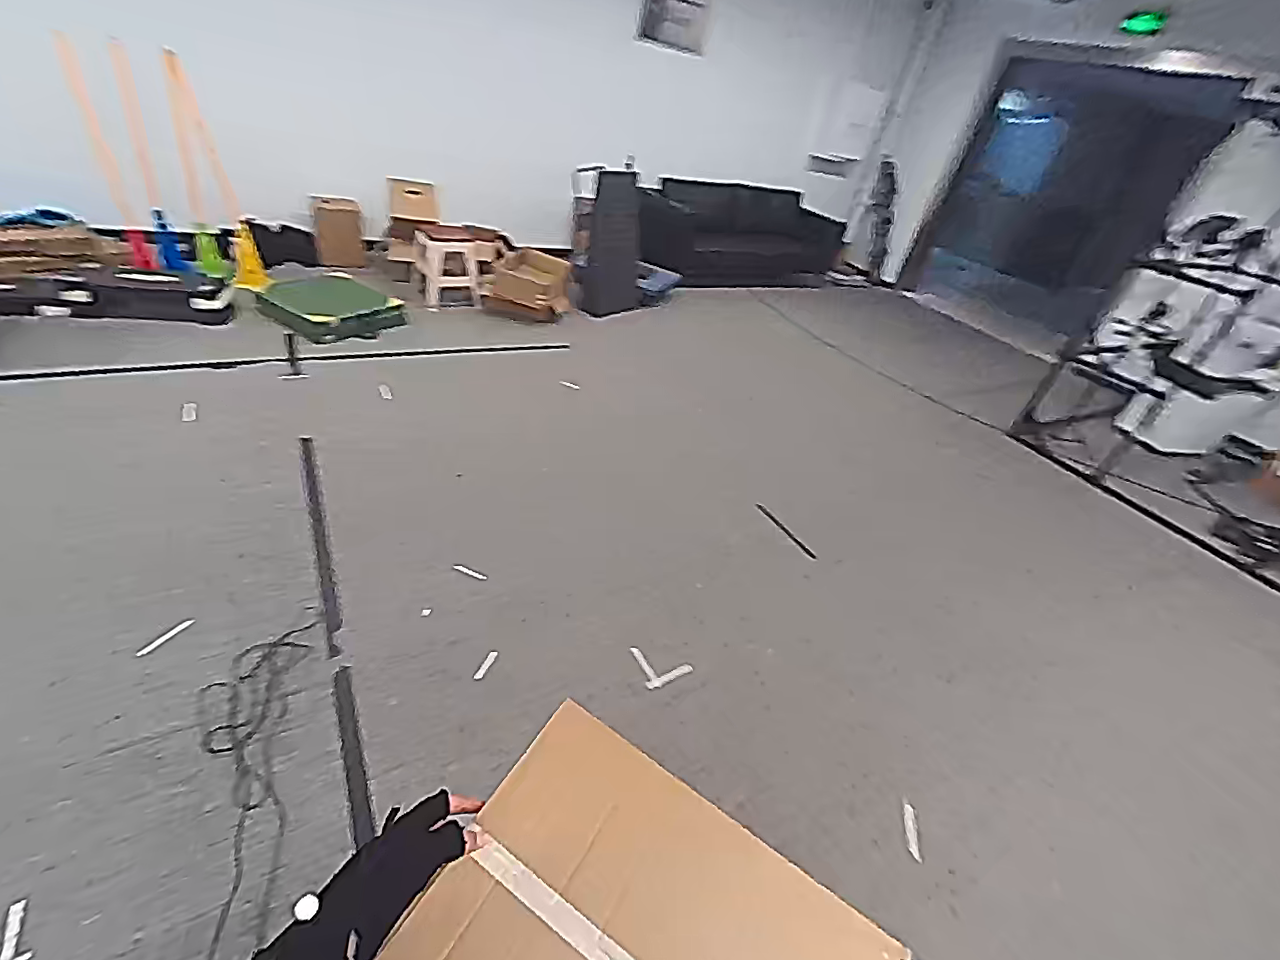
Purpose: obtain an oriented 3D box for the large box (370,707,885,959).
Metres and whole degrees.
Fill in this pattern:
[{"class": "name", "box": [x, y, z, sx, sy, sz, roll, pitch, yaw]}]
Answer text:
[{"class": "large box", "box": [-0.034, 0.531, 0.568, 0.408, 0.320, 0.320, 30, 46, 13]}]
